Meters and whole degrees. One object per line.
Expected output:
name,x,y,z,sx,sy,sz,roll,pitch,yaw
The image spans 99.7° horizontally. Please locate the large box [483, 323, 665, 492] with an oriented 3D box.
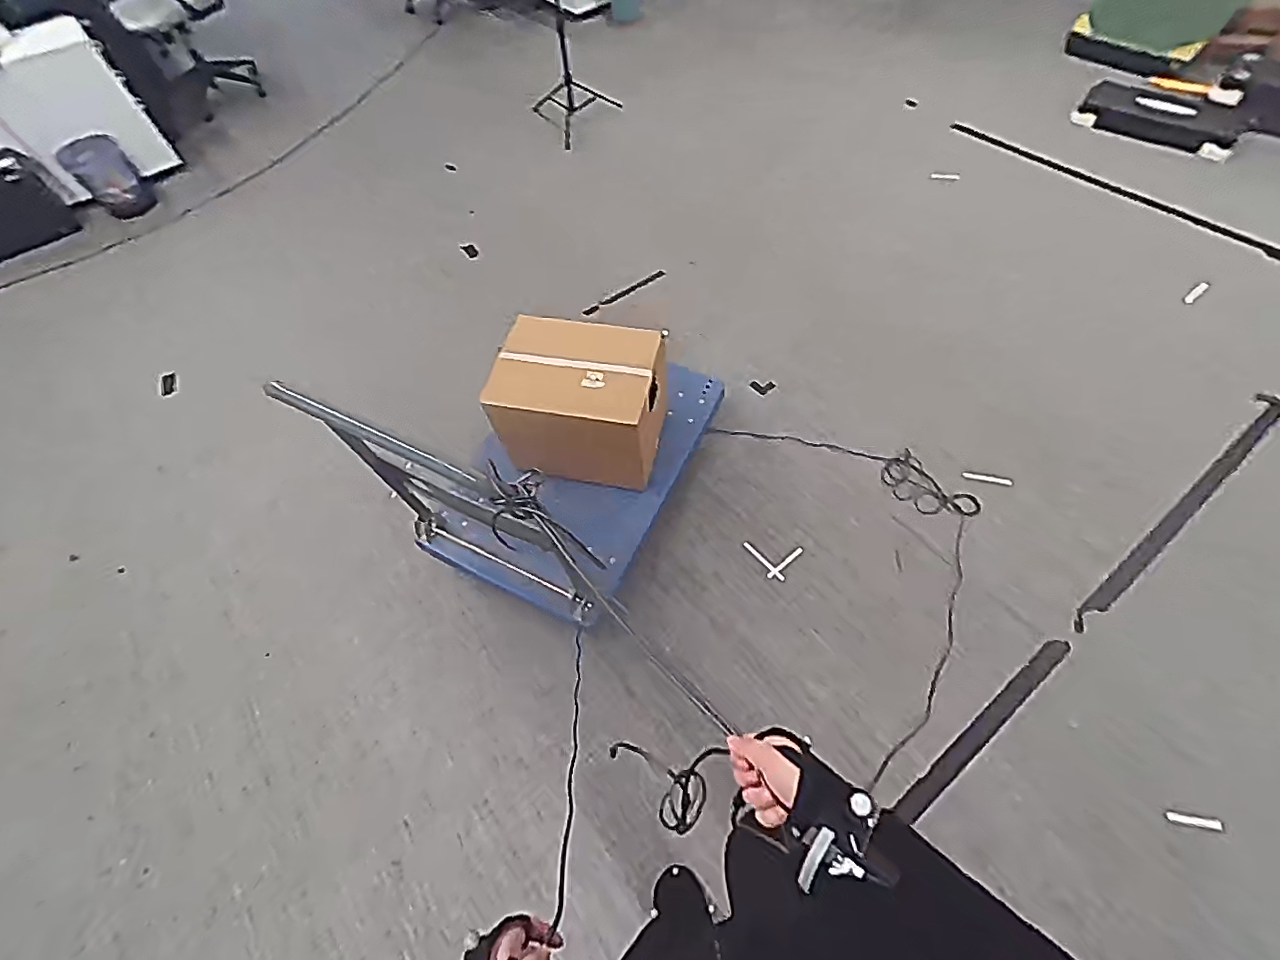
large box,-0.156,-0.194,1.487,0.408,0.320,0.320,9,60,9
